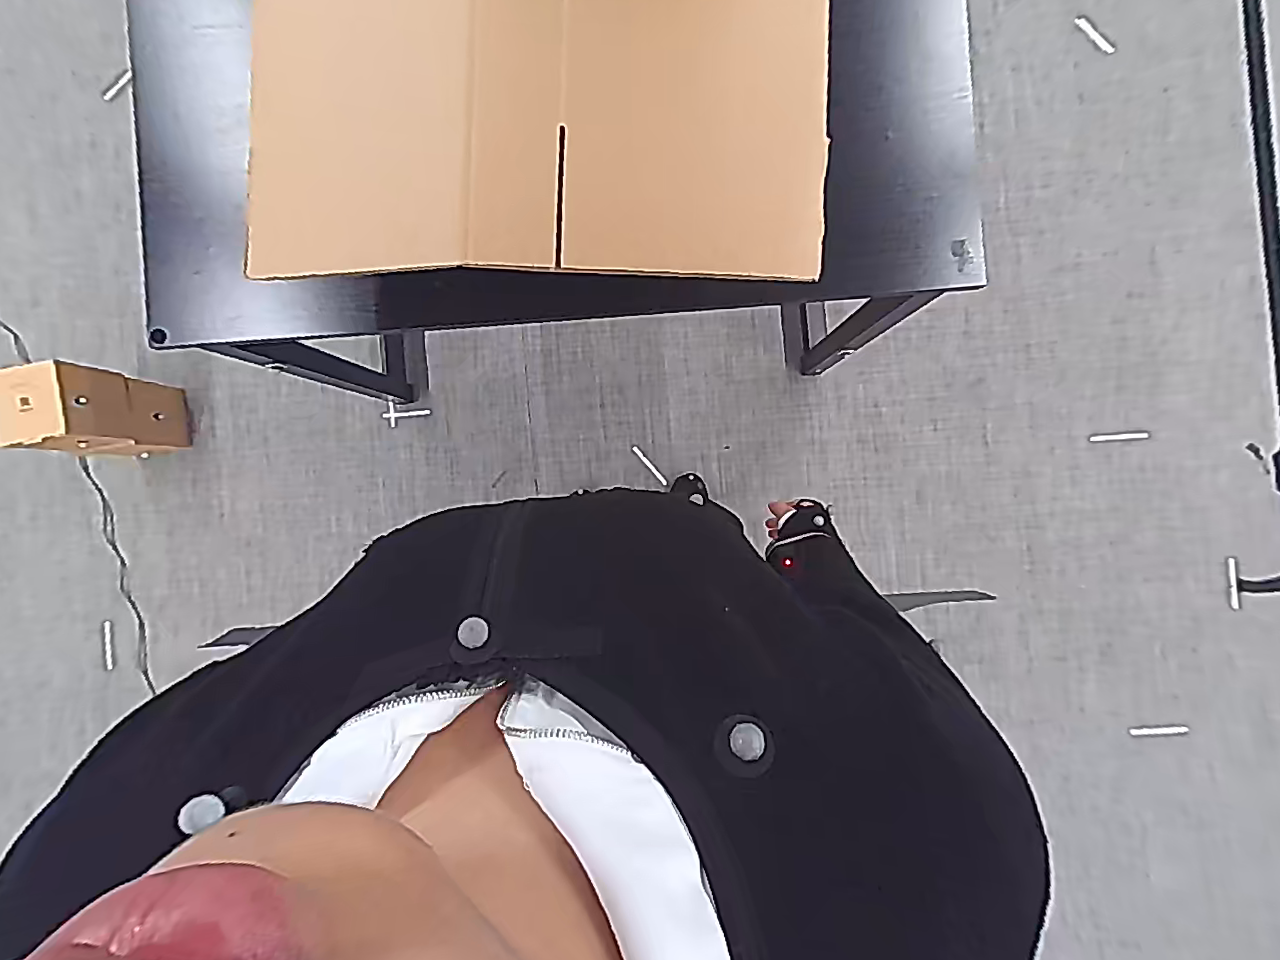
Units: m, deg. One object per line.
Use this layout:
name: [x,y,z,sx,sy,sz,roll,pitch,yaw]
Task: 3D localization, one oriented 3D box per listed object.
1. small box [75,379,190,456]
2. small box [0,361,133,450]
small box: [-1.370,-0.163,1.458,0.168,0.176,0.179,-8,90,2]
small box: [-1.375,-0.170,1.295,0.168,0.176,0.179,-10,89,1]
